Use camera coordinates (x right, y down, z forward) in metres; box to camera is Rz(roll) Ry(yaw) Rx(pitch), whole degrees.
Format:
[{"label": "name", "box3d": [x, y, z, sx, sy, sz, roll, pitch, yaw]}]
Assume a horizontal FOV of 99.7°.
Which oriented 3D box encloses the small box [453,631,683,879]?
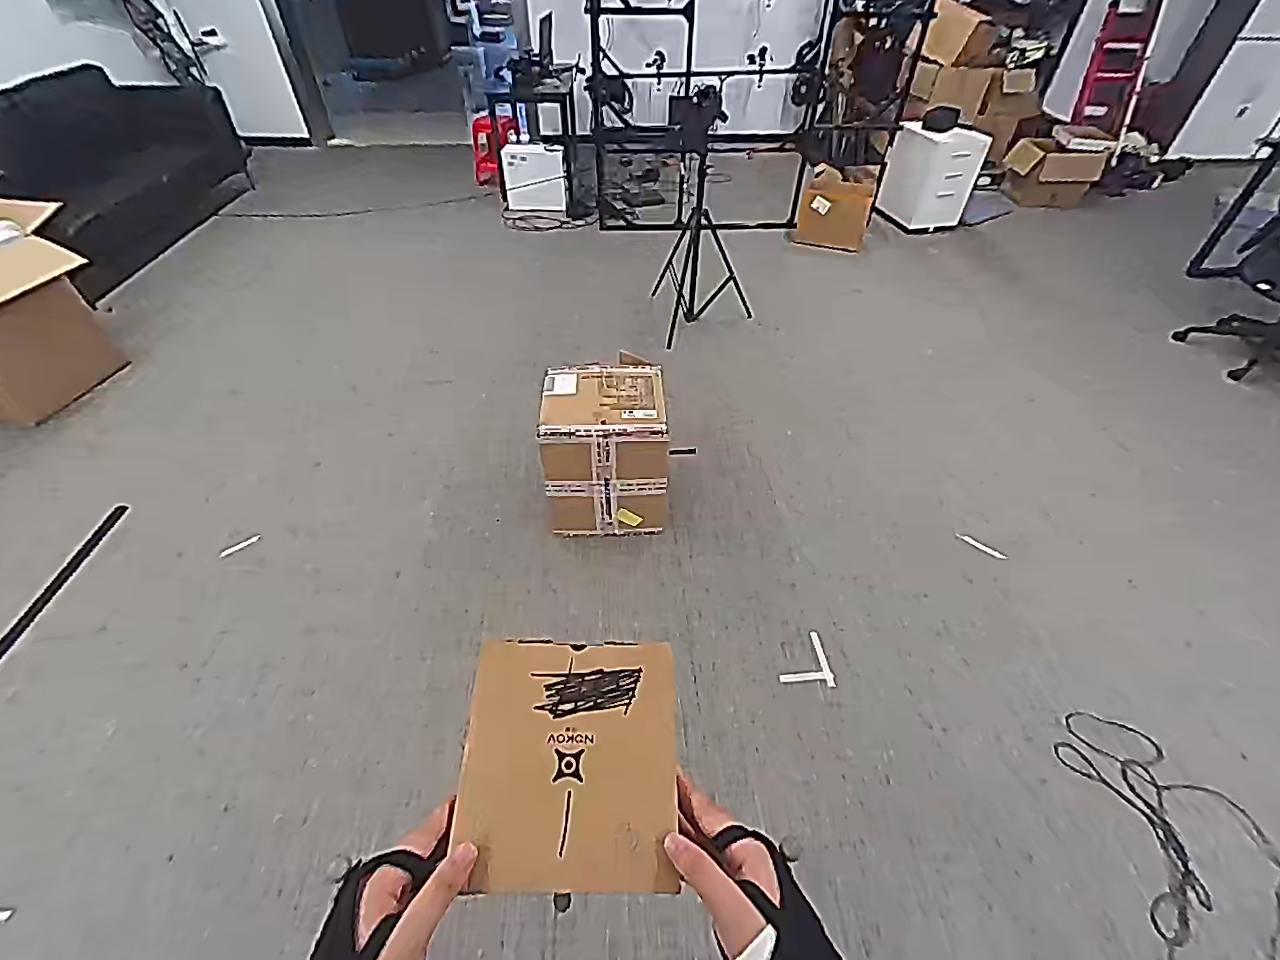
[{"label": "small box", "box3d": [-0.054, 0.252, 0.493, 0.168, 0.176, 0.179, 2, 56, -2]}]
